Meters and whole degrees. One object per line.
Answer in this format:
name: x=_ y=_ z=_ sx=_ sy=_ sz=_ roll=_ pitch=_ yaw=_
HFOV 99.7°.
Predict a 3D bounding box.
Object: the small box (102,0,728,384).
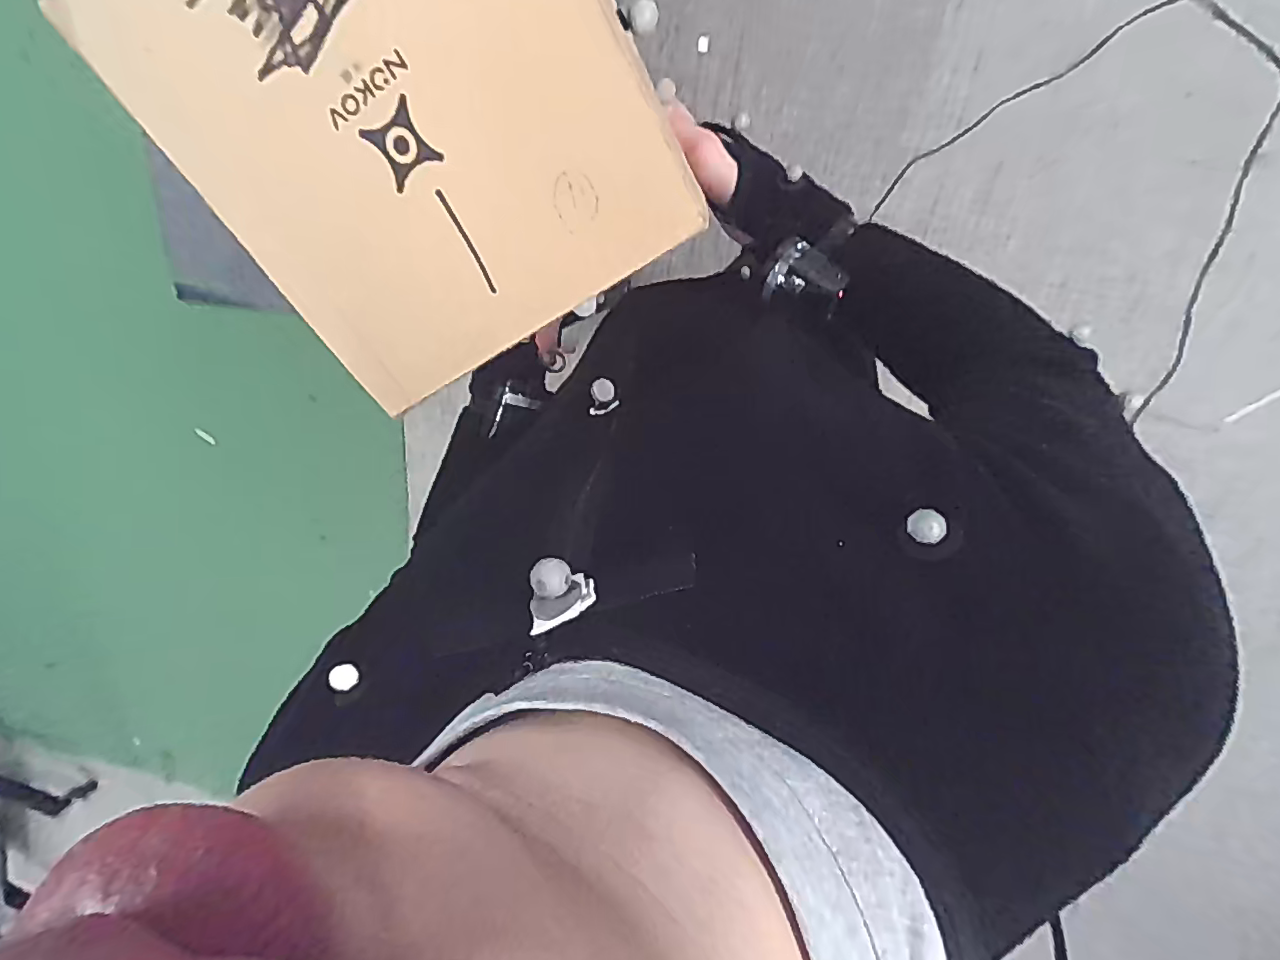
small box: x=-0.072 y=-0.178 z=0.258 sx=0.168 sy=0.176 sz=0.179 roll=-24 pitch=114 yaw=19
